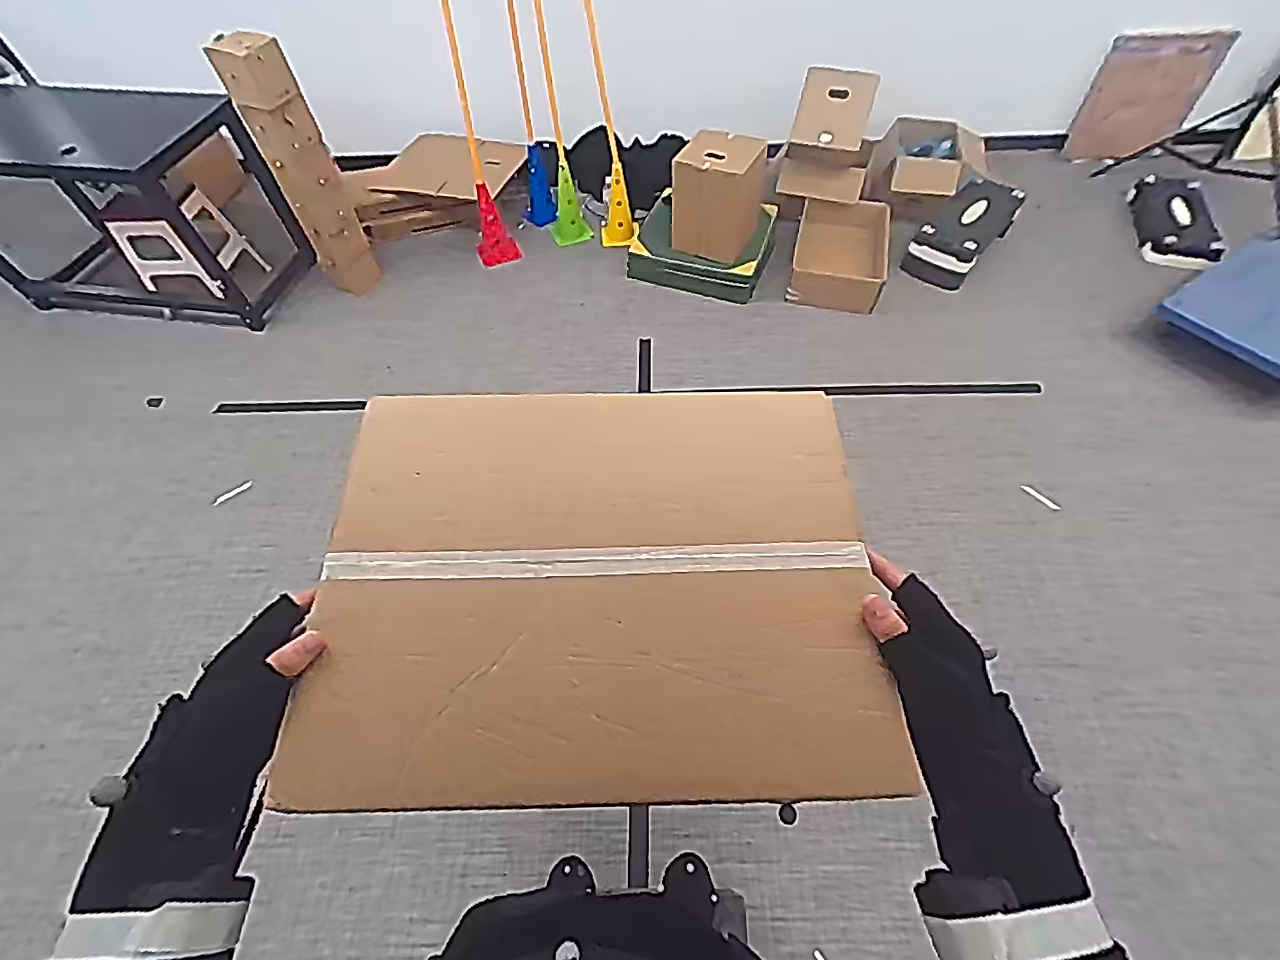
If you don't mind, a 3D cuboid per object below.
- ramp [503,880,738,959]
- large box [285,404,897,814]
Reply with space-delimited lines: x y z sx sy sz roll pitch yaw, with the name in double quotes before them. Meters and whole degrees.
"ramp" -0.040 1.331 0.975 0.509 0.206 0.991 -1 56 -1
"large box" -0.034 0.139 0.547 0.408 0.320 0.320 0 61 -2
